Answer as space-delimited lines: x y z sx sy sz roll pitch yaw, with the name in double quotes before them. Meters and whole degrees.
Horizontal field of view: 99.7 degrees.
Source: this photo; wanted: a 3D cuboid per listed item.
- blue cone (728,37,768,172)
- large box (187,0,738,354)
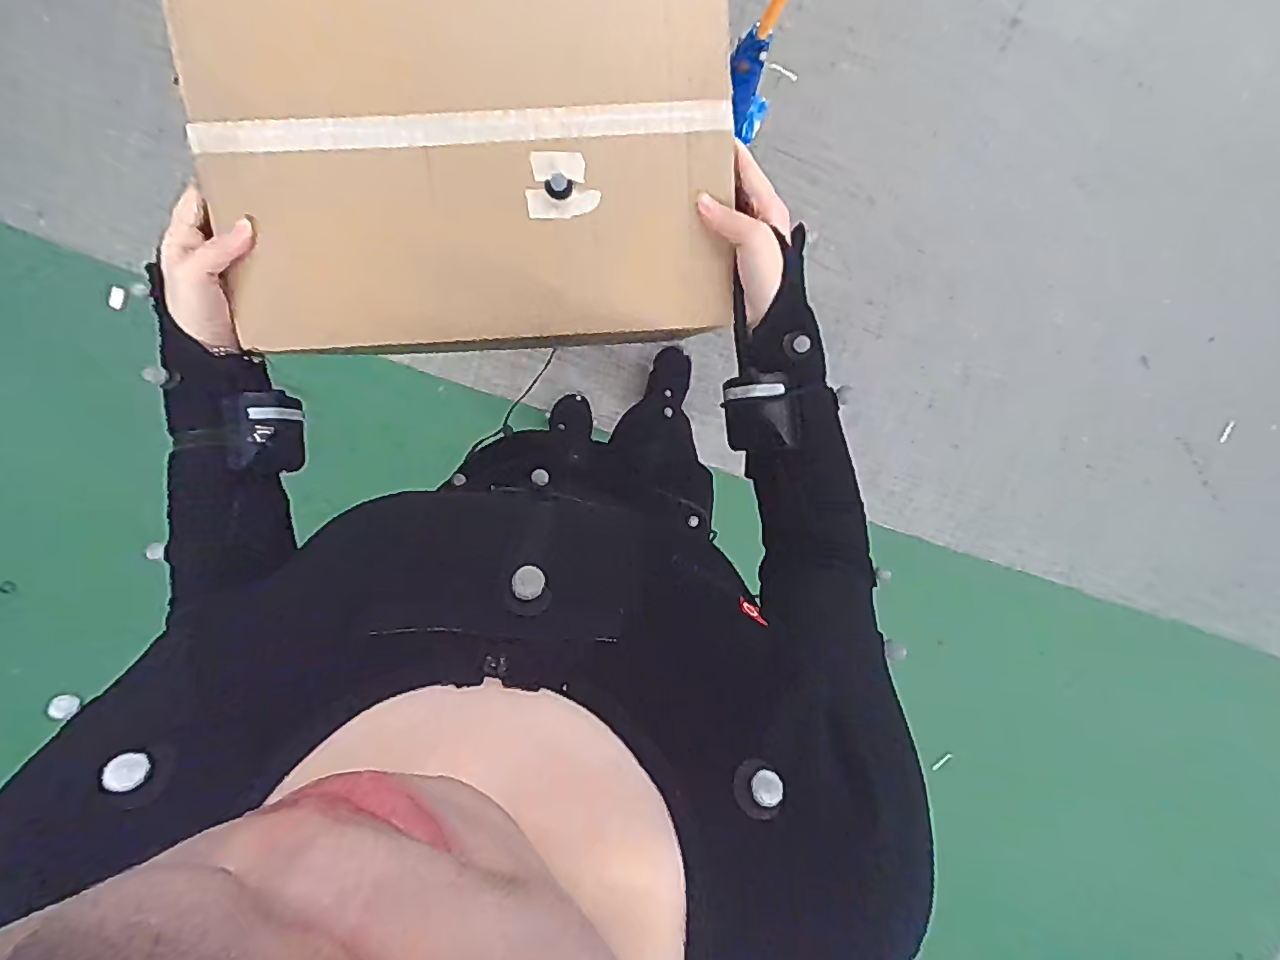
"blue cone" 0.210 -0.859 1.193 0.193 0.380 0.192 27 98 -10
"large box" -0.137 -0.309 0.567 0.408 0.320 0.320 -5 103 -3
